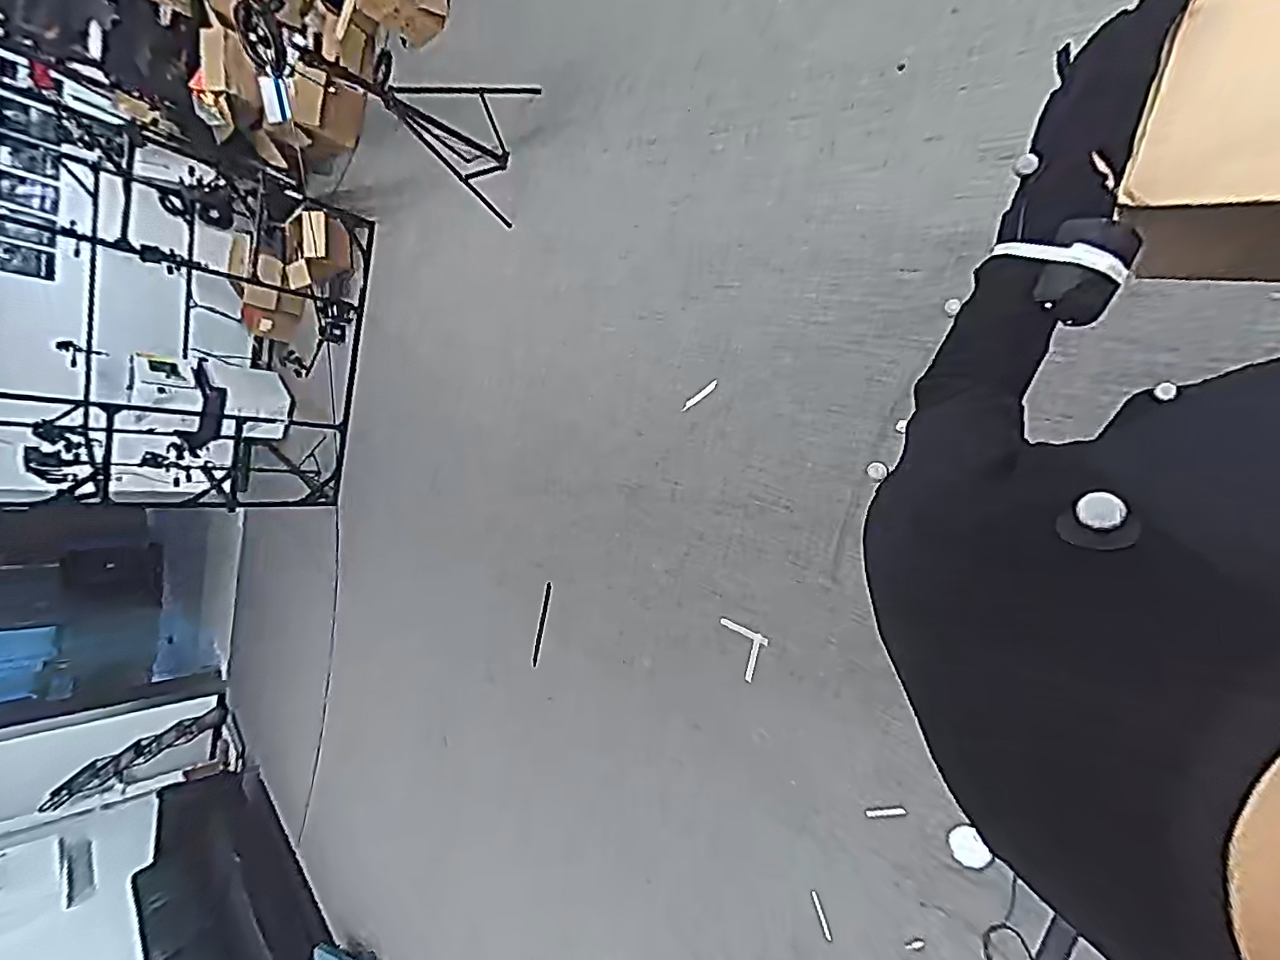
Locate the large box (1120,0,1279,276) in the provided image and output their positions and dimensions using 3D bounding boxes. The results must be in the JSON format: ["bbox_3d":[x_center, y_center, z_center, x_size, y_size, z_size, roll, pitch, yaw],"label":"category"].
[{"bbox_3d":[0.623,-0.321,0.354,0.408,0.320,0.320,21,111,40],"label":"large box"}]
